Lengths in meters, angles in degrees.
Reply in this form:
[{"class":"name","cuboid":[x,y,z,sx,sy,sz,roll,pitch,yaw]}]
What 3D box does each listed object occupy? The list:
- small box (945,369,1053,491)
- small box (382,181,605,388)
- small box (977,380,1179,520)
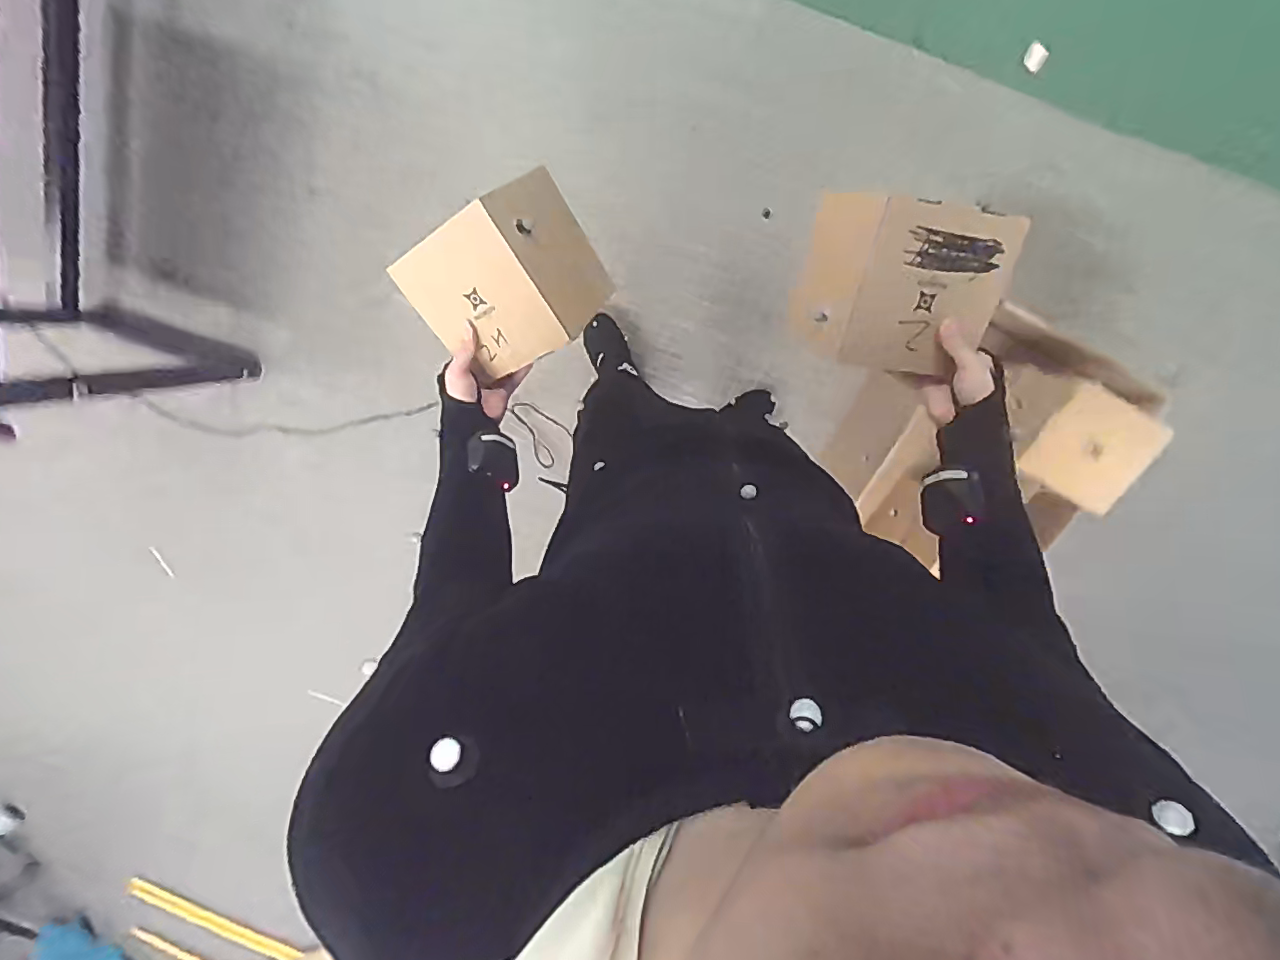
[{"class":"small box","cuboid":[0.767,-0.111,1.103,0.168,0.176,0.179,31,108,-2]},{"class":"small box","cuboid":[-0.173,-0.252,0.688,0.168,0.176,0.179,-17,121,32]},{"class":"small box","cuboid":[0.748,-0.062,0.948,0.179,0.176,0.168,30,108,-1]}]
